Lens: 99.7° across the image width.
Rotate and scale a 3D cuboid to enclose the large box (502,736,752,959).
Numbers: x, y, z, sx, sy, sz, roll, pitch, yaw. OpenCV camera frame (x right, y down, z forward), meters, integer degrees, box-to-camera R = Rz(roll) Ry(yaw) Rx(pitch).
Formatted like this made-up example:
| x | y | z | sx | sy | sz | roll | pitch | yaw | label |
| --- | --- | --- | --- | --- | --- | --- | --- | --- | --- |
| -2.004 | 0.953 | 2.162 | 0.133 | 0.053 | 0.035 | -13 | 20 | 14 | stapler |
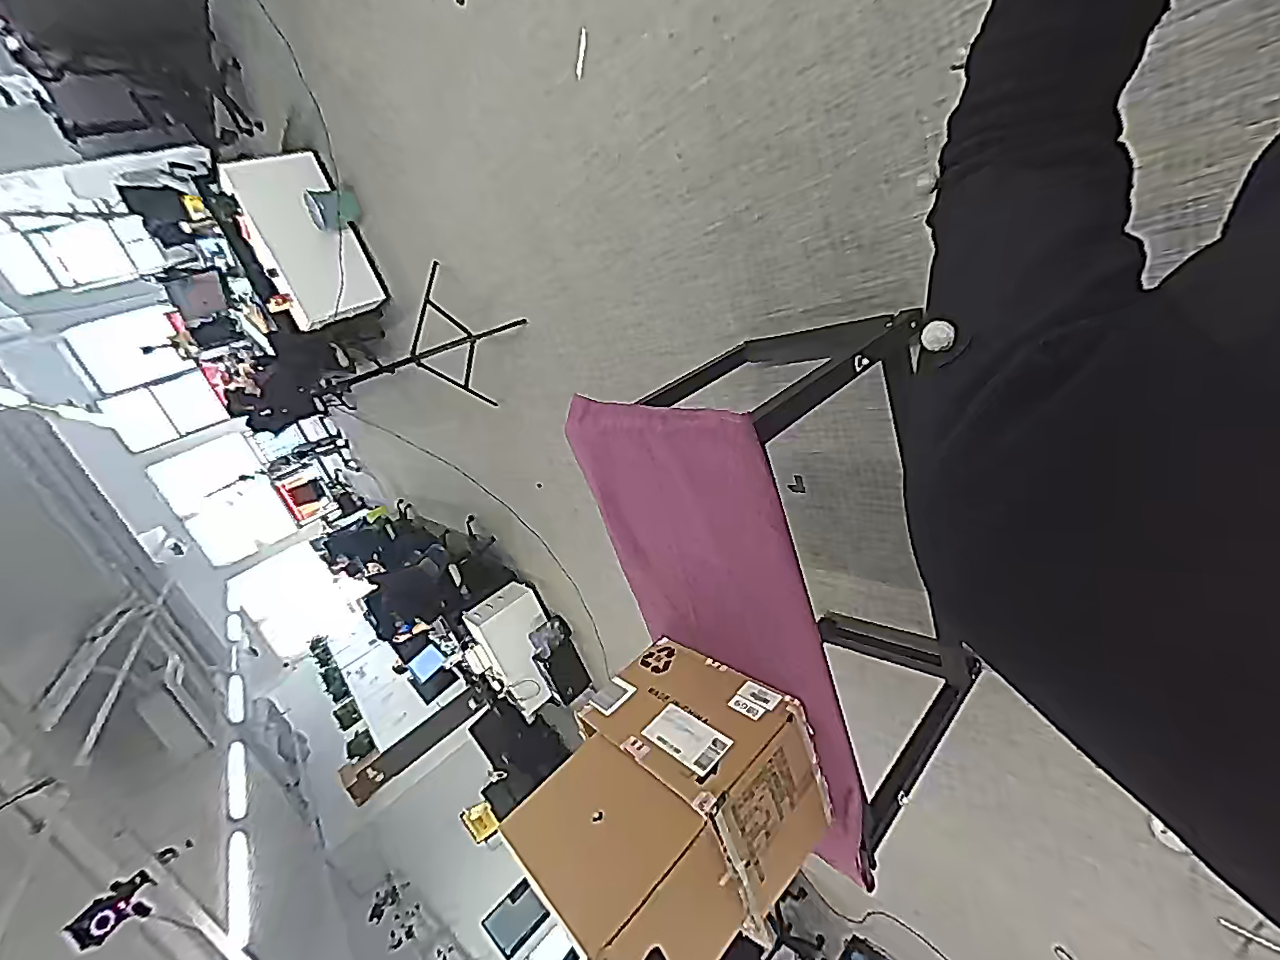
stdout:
| x | y | z | sx | sy | sz | roll | pitch | yaw | label |
| --- | --- | --- | --- | --- | --- | --- | --- | --- | --- |
| -0.034 | 0.848 | 1.182 | 0.408 | 0.320 | 0.320 | 5 | 123 | 53 | large box |
